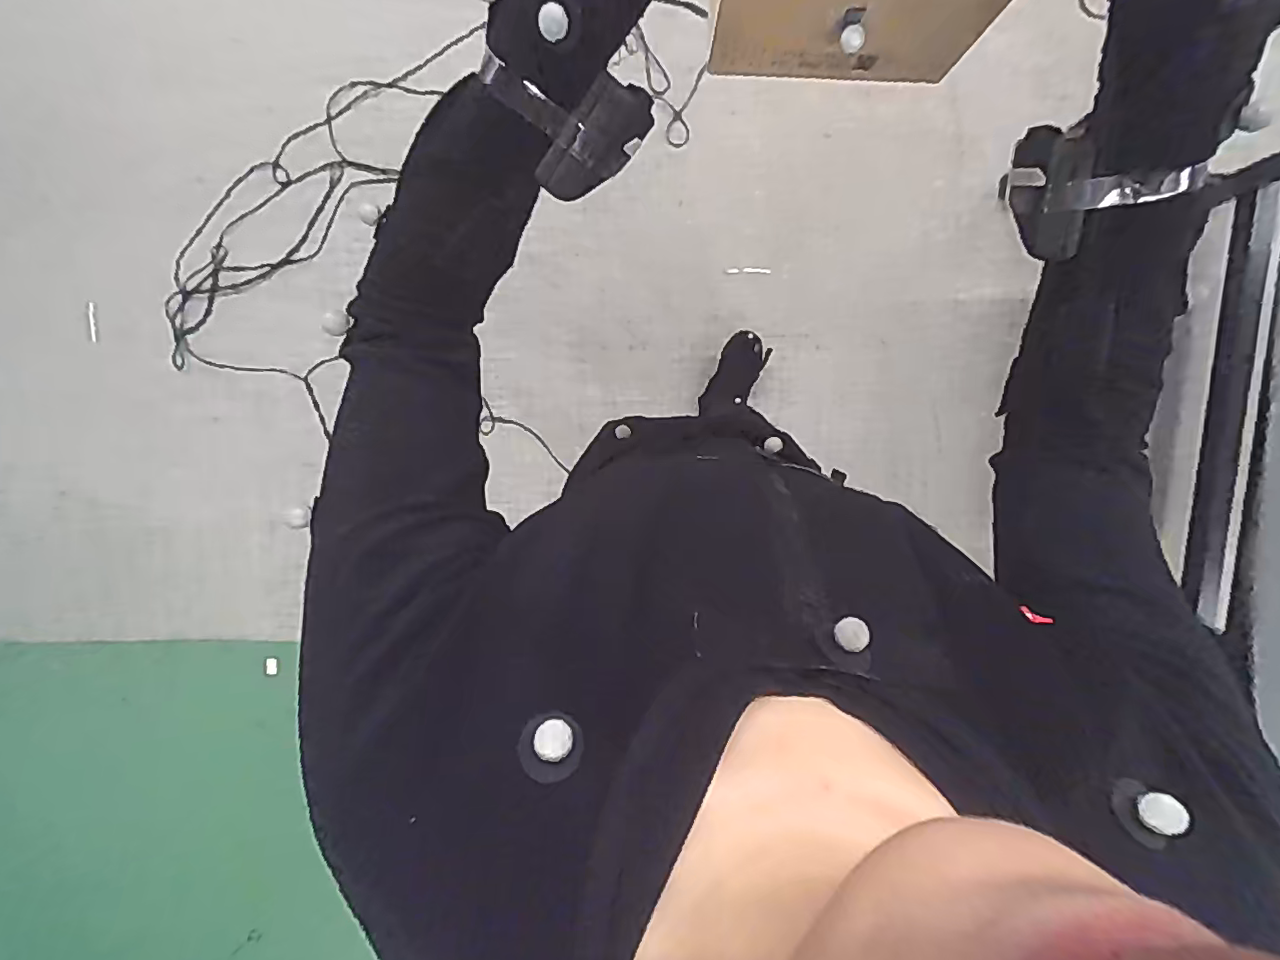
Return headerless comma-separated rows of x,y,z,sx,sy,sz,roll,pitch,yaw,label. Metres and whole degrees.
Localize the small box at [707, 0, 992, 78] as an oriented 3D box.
0.130,-0.365,0.290,0.168,0.176,0.179,2,95,-1,small box
